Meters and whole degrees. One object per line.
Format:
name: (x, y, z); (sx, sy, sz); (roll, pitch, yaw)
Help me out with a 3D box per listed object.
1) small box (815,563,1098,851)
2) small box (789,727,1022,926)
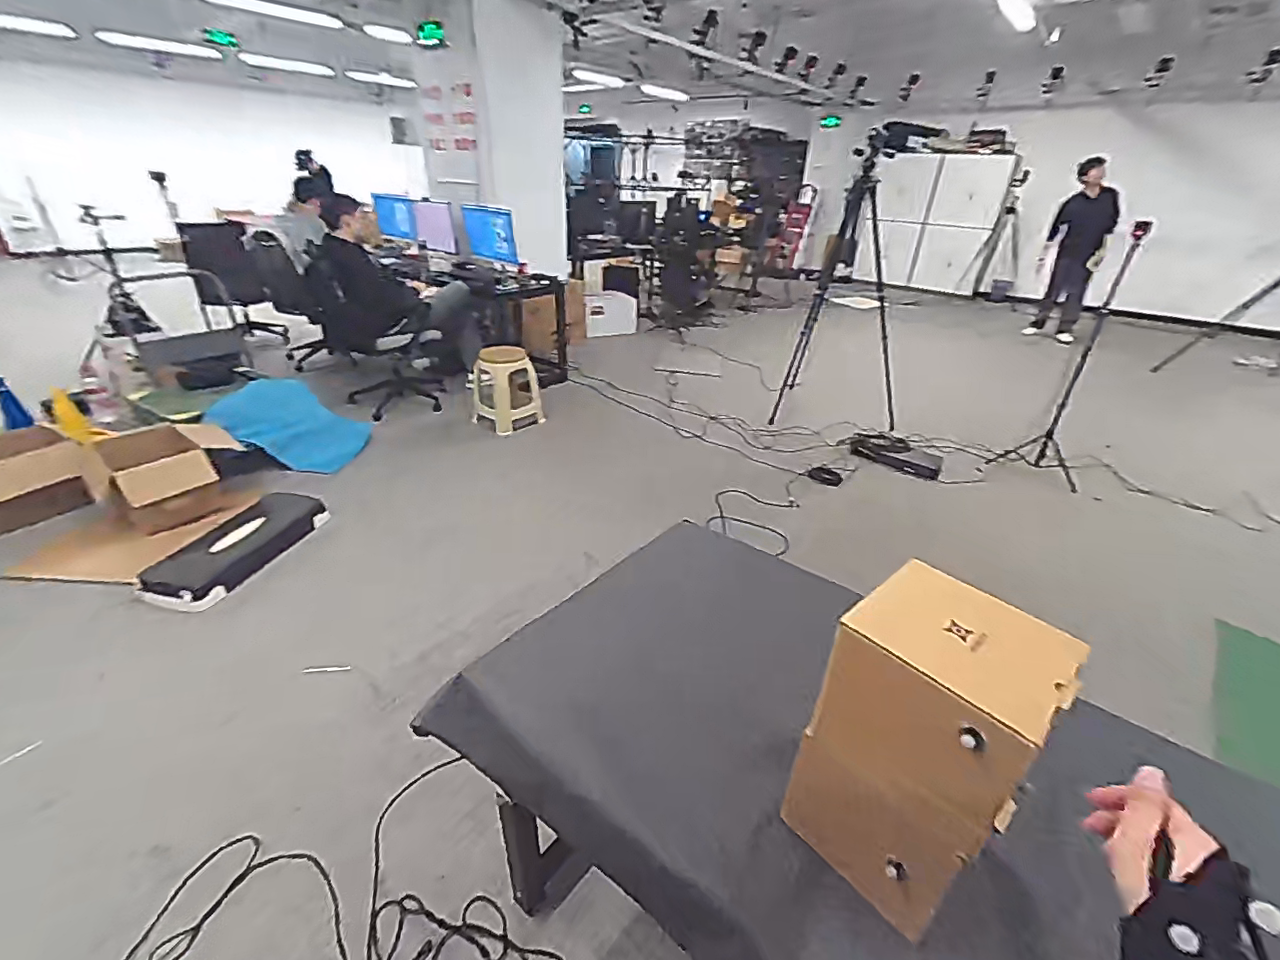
small box: (0.308, 0.220, 0.553); (0.168, 0.176, 0.179); (-19, 37, -36)
small box: (0.299, 0.364, 0.628); (0.168, 0.176, 0.179); (-20, 35, -37)
